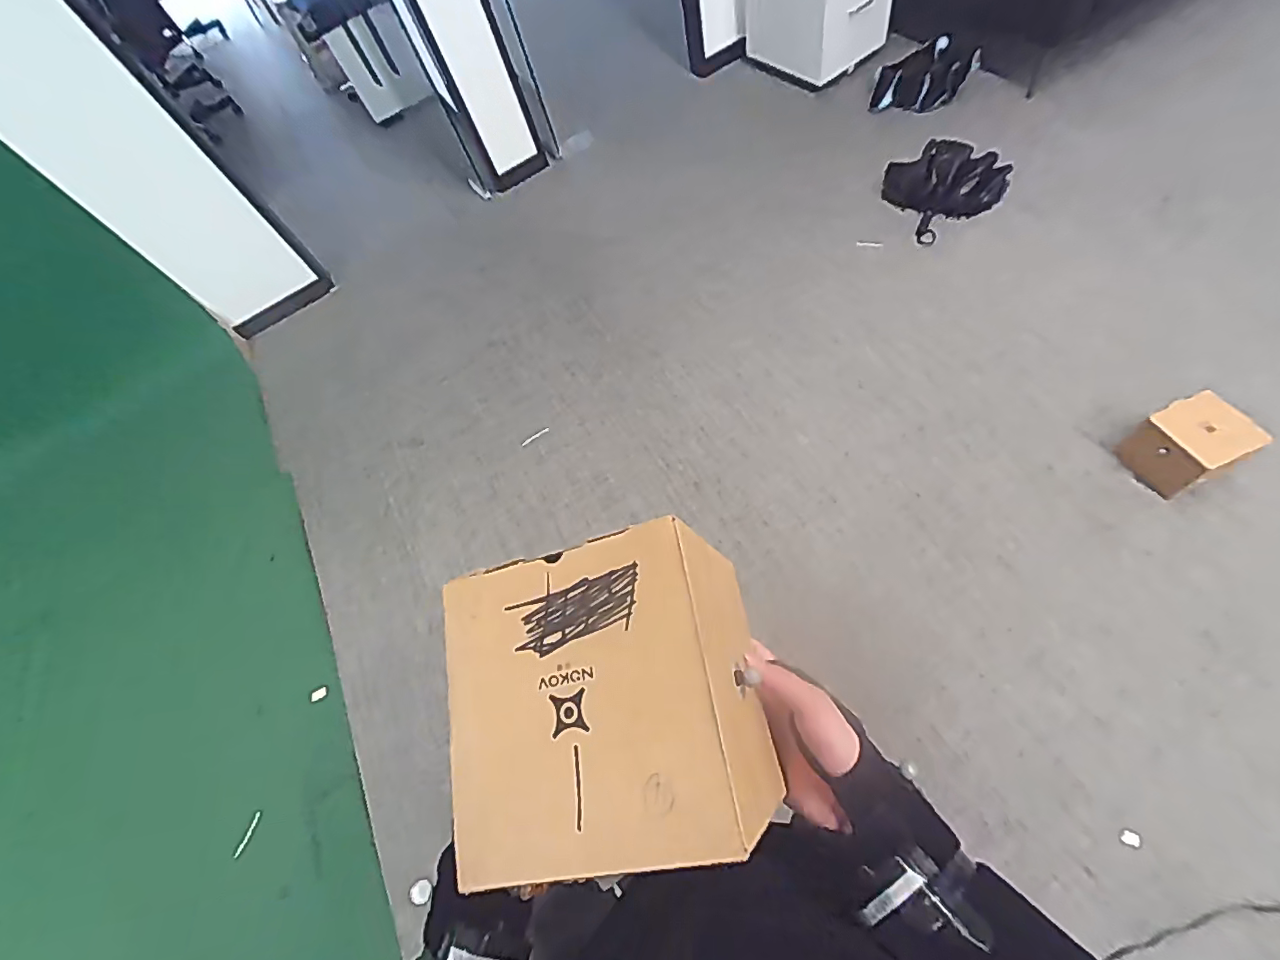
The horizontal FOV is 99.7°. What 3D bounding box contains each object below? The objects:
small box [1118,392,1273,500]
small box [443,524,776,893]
[{"bbox_3d":[1.368,-0.080,1.351,0.168,0.176,0.179,-26,60,1],"label":"small box"},{"bbox_3d":[-0.014,0.150,0.377,0.168,0.176,0.179,-18,67,16],"label":"small box"}]
